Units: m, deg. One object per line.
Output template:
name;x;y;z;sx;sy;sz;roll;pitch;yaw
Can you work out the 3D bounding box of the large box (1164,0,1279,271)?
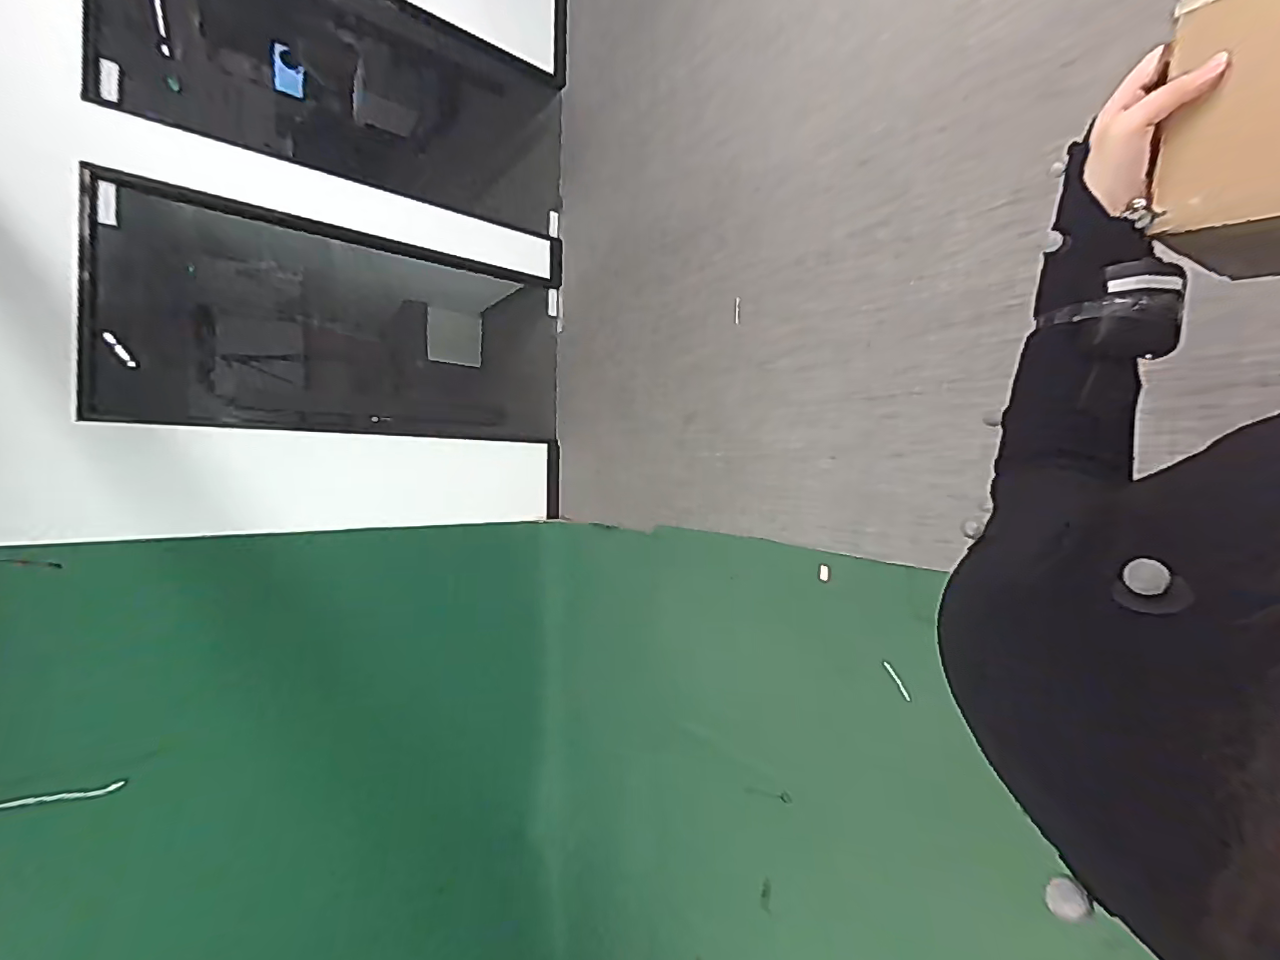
large box;0.634;-0.327;0.308;0.408;0.320;0.320;14;107;55
